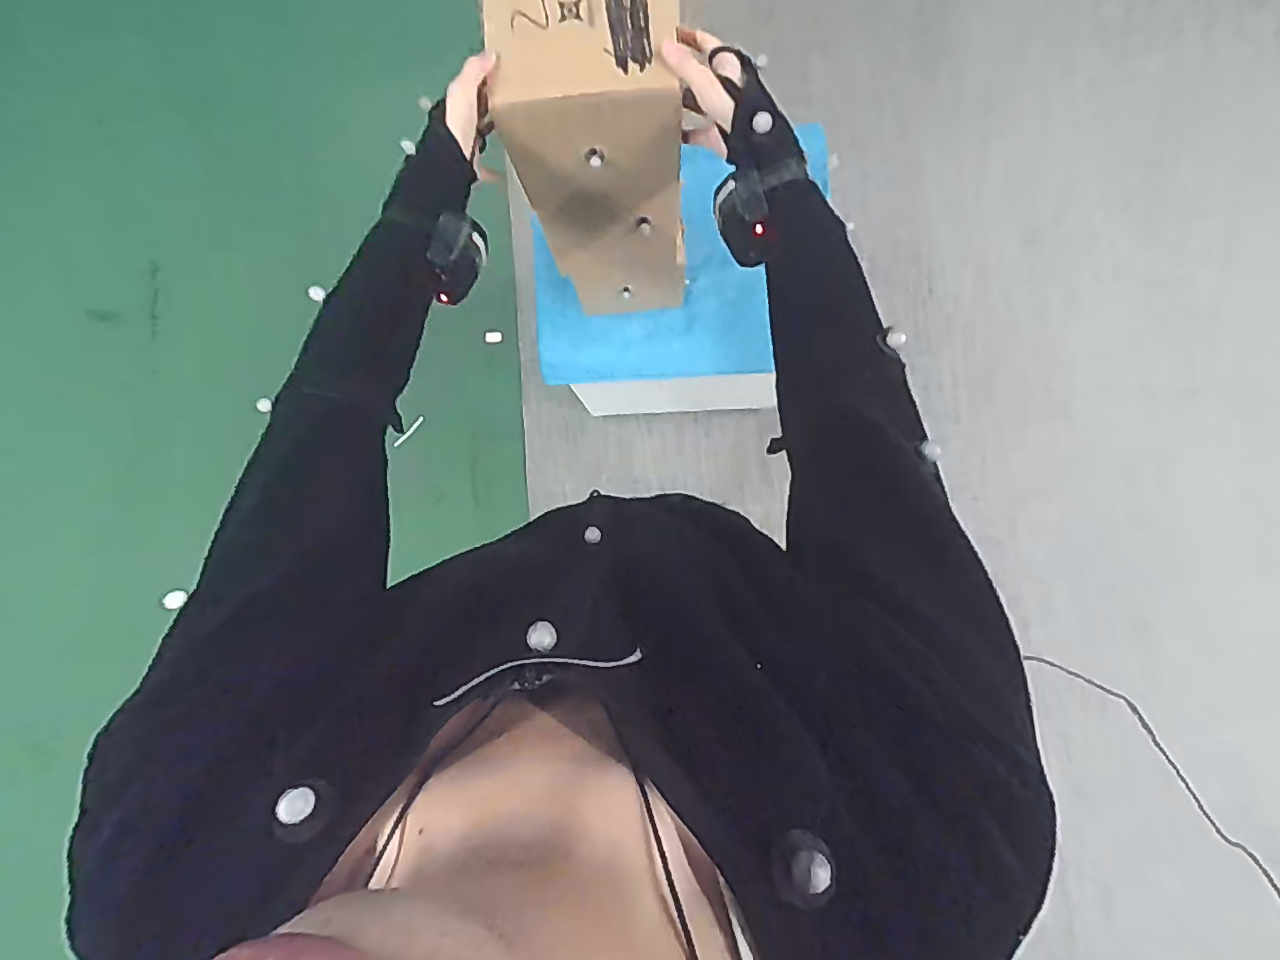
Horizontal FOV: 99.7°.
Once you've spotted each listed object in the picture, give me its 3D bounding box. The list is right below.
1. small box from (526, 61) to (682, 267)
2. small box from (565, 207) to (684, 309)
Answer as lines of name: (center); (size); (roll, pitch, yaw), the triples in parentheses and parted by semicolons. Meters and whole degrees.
small box: (-0.041, -0.400, 0.711); (0.179, 0.176, 0.168); (-4, 85, 2)
small box: (-0.025, -0.390, 0.874); (0.179, 0.176, 0.168); (-4, 86, 3)
